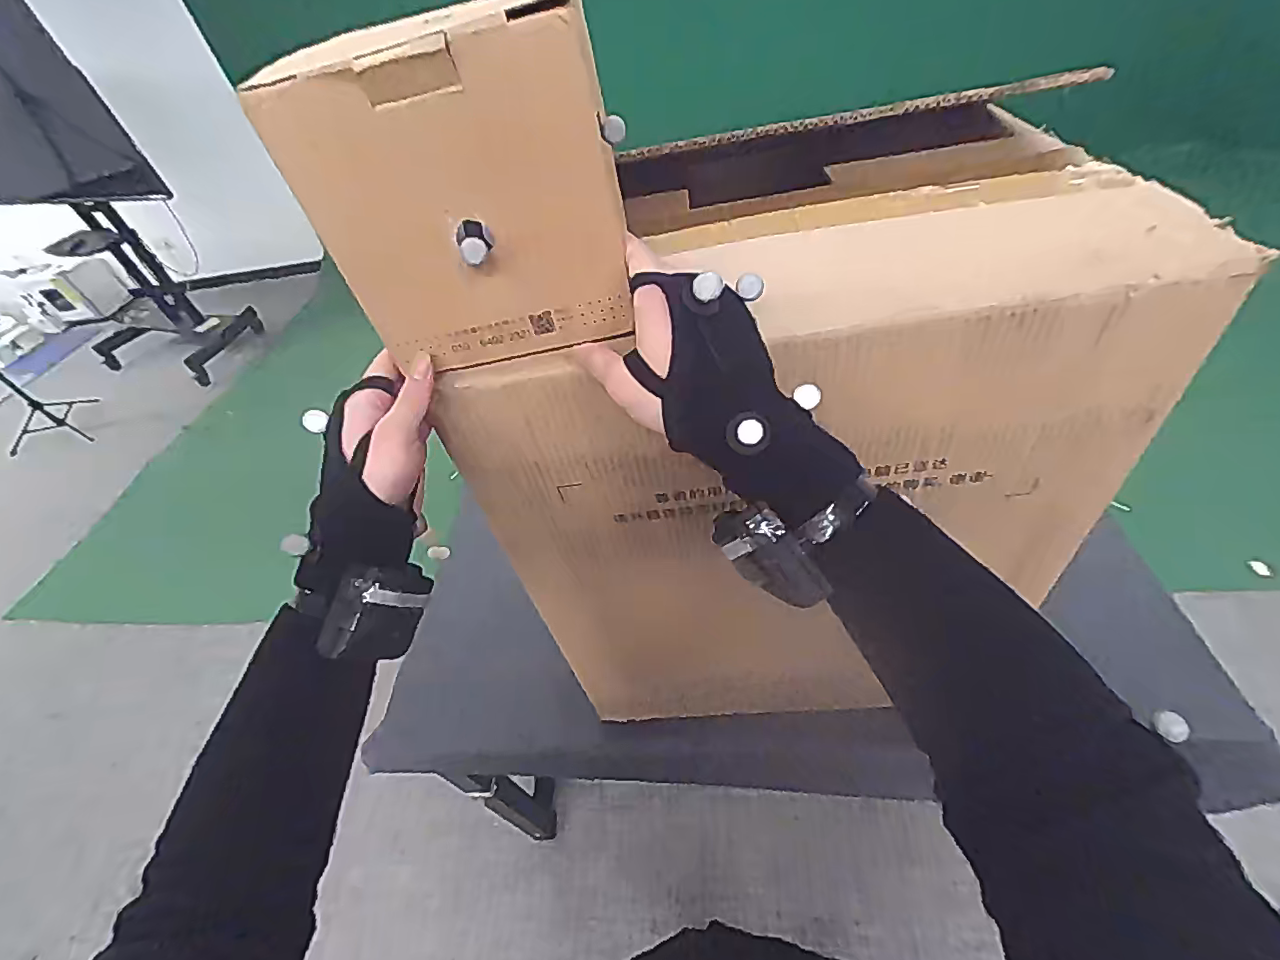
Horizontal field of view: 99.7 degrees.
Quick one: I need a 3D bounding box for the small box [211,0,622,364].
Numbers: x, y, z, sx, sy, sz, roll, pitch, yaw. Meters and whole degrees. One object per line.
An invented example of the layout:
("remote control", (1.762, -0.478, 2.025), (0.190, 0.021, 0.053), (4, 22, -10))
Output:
("small box", (-0.110, -0.193, 0.356), (0.168, 0.176, 0.179), (-10, 47, 5))
